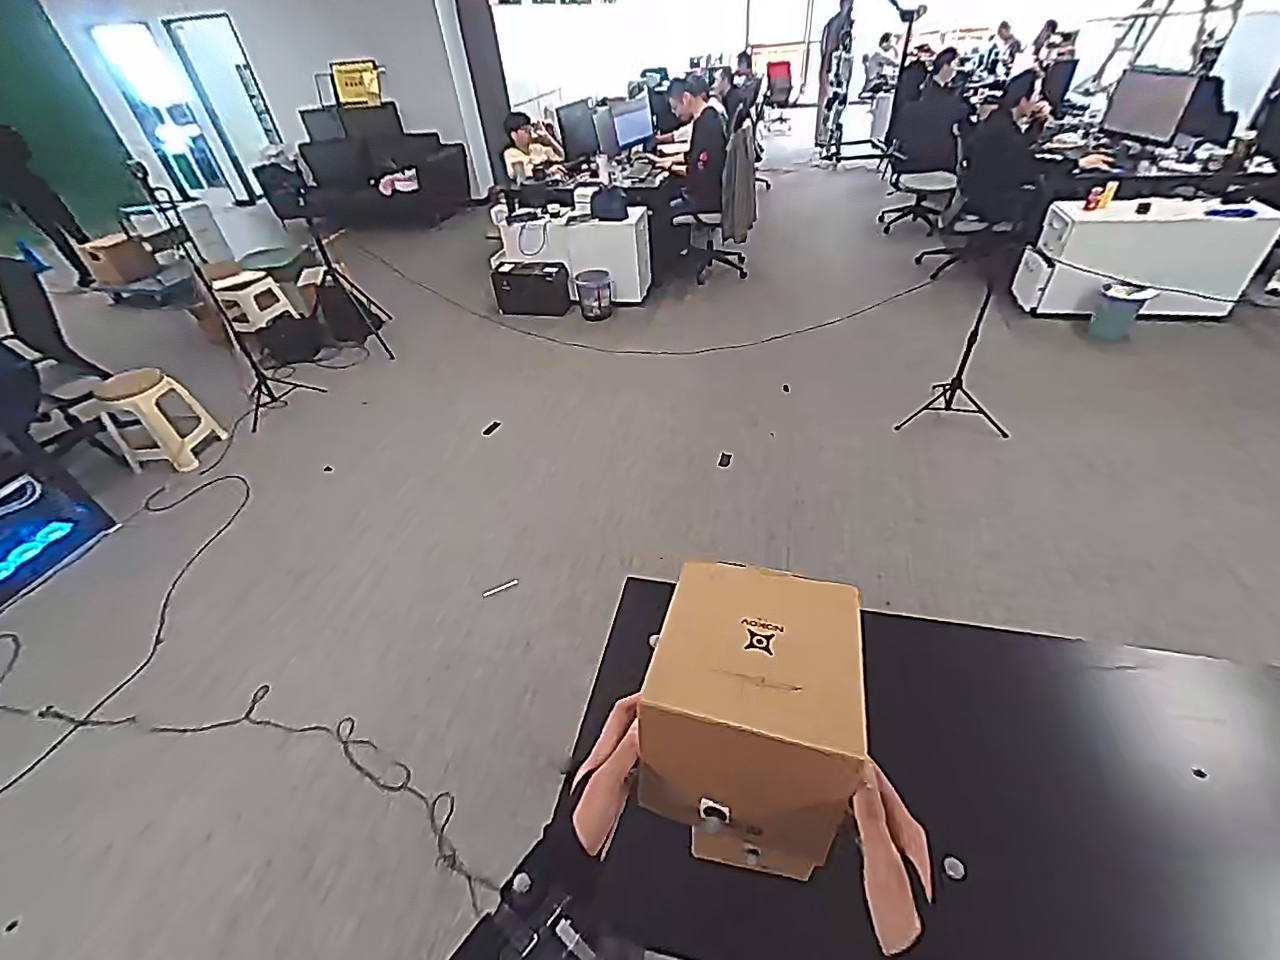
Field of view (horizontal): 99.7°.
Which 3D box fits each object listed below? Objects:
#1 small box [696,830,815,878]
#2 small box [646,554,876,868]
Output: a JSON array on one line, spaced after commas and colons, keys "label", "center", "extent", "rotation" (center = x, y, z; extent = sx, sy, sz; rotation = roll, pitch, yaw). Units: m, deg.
[{"label": "small box", "center": [0.172, 0.435, 0.773], "extent": [0.168, 0.176, 0.179], "rotation": [5, 42, 11]}, {"label": "small box", "center": [0.104, 0.199, 0.489], "extent": [0.168, 0.176, 0.179], "rotation": [9, 35, 15]}]
